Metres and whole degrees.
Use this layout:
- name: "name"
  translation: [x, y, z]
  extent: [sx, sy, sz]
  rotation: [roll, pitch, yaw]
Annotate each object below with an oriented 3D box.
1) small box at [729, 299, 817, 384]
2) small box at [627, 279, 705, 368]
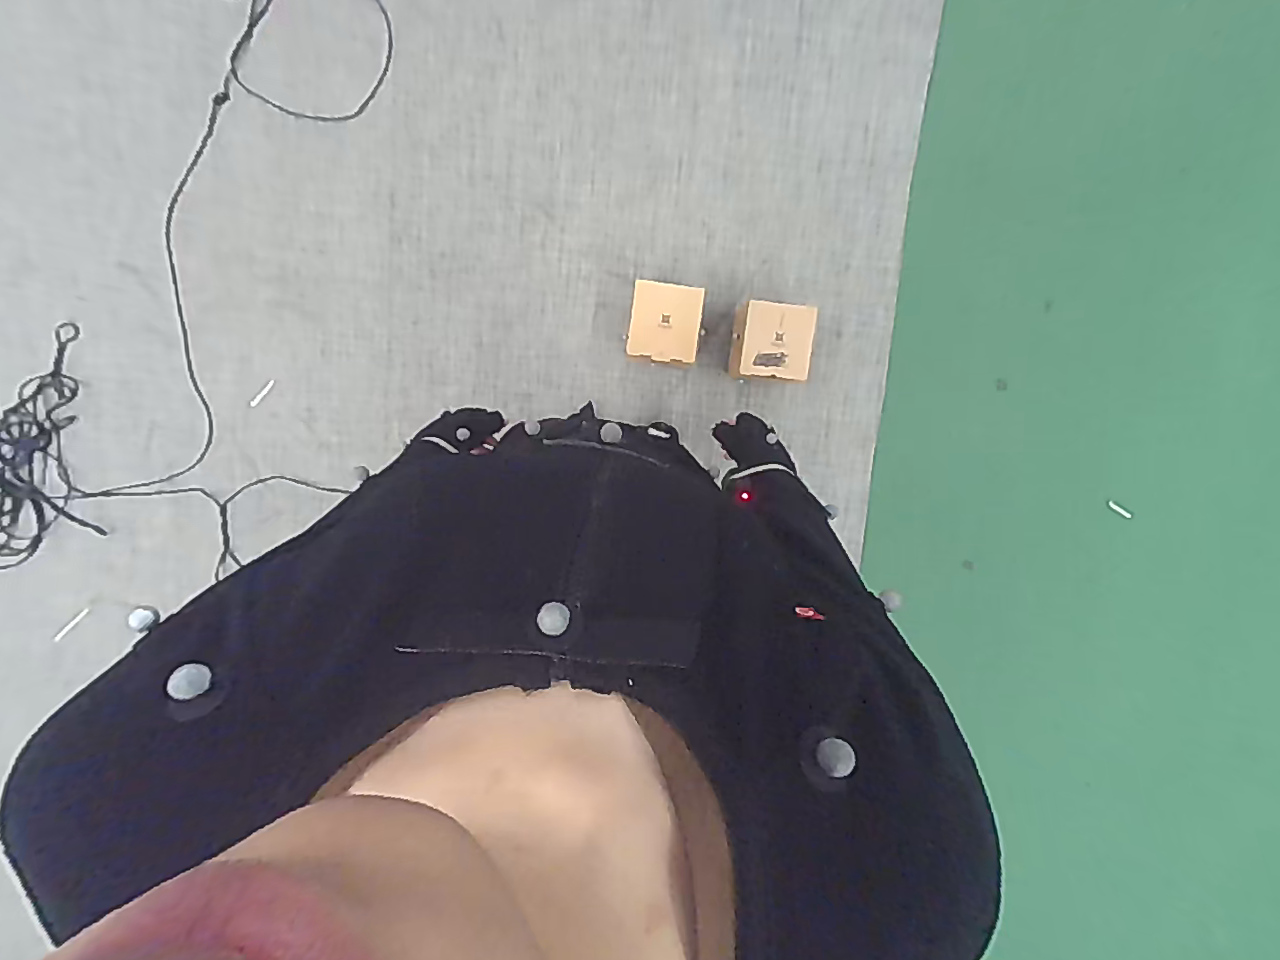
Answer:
- name: "small box"
  translation: [0.324, -0.338, 1.354]
  extent: [0.168, 0.176, 0.179]
  rotation: [7, 97, -1]
- name: "small box"
  translation: [0.059, -0.382, 1.347]
  extent: [0.168, 0.176, 0.179]
  rotation: [7, 98, -2]
